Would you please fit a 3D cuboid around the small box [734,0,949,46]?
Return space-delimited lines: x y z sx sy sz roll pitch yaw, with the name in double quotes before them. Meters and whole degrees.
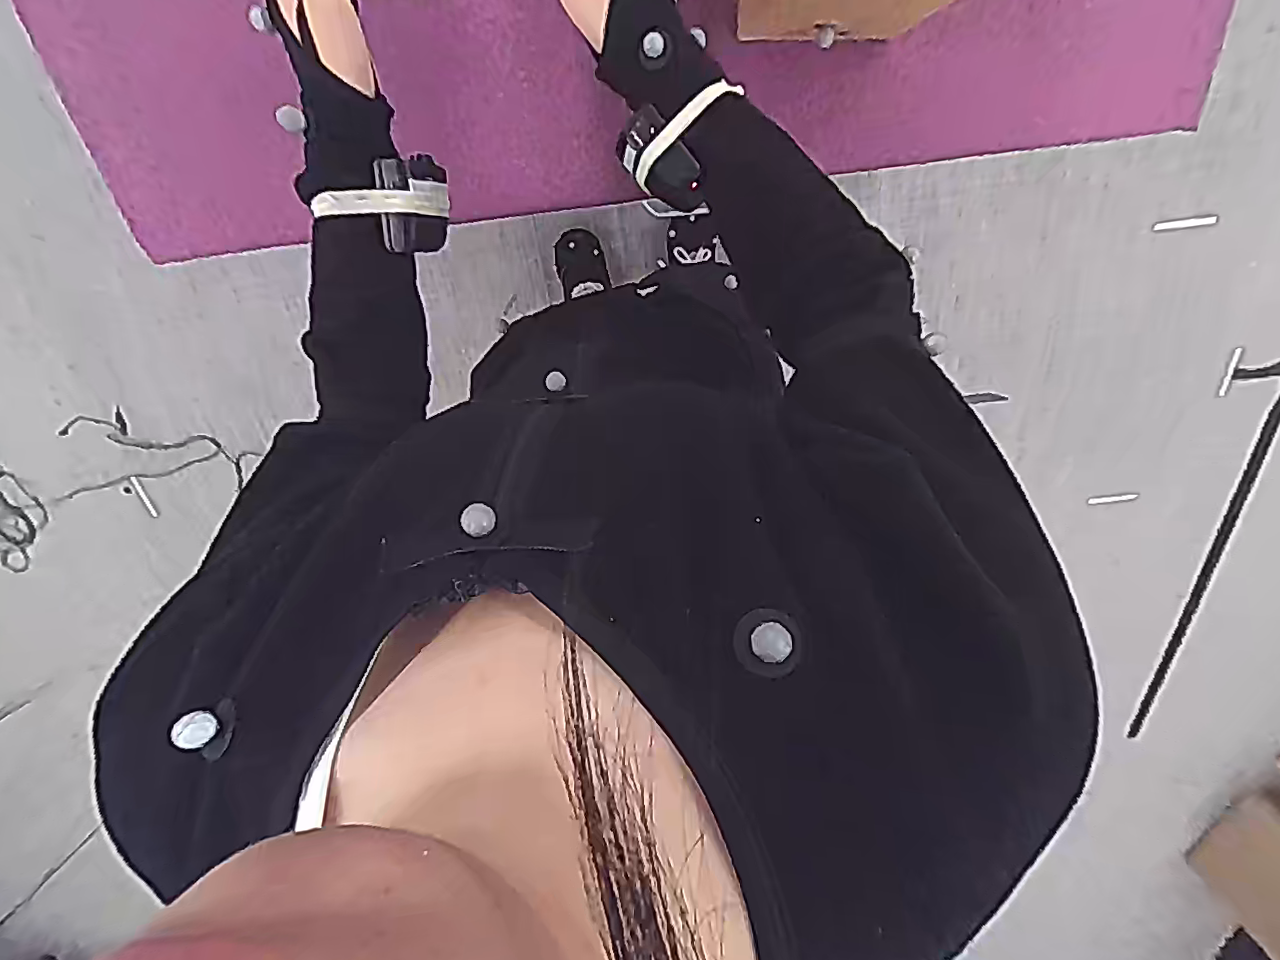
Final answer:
"small box" 0.179 -0.497 0.452 0.168 0.176 0.179 -2 116 -2
